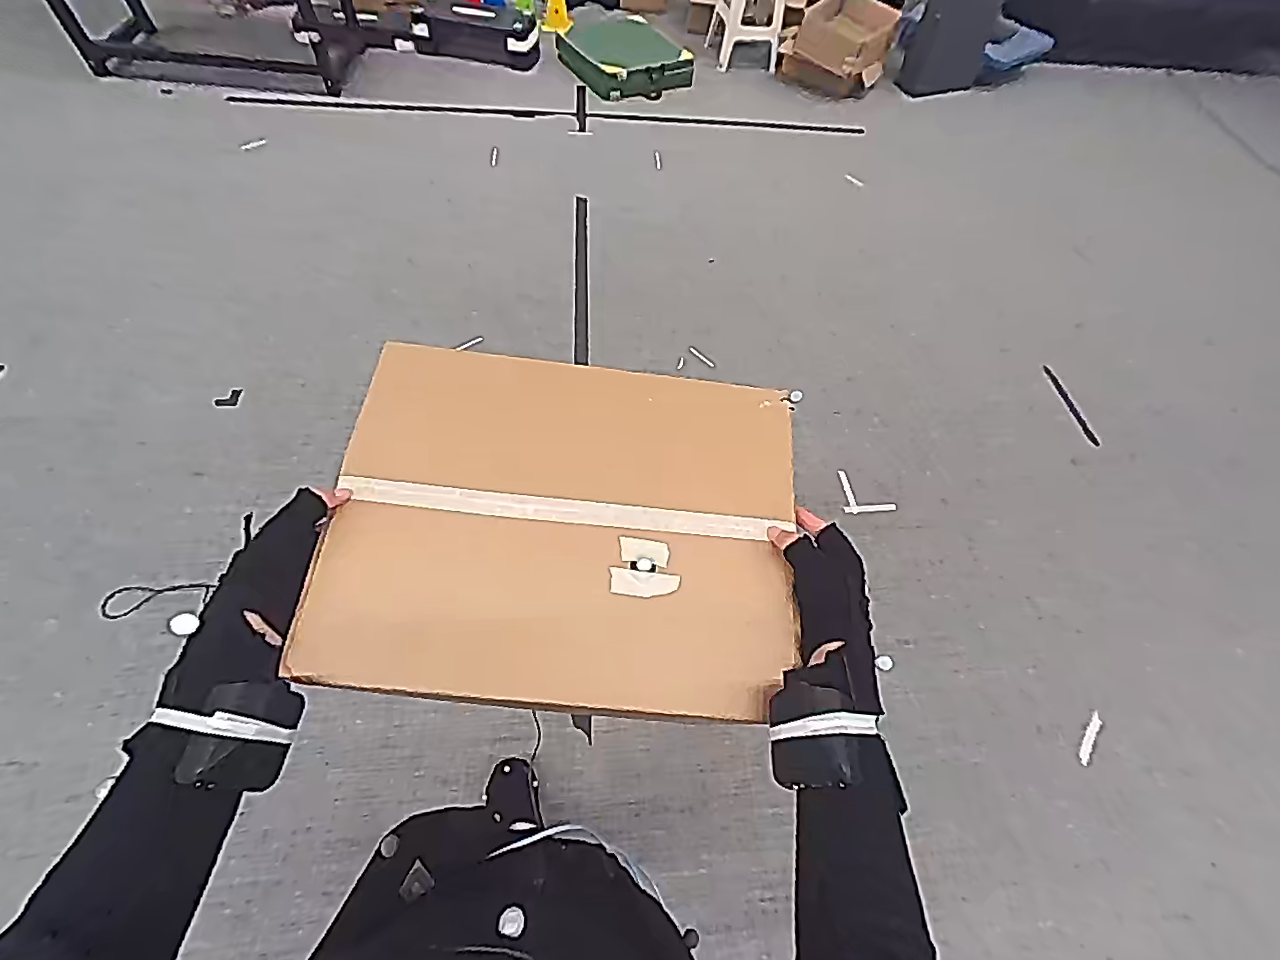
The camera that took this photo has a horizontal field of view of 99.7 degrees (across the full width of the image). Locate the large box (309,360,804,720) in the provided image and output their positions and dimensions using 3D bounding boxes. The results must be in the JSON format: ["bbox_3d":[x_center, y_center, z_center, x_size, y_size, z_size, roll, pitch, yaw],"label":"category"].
[{"bbox_3d":[-0.070,0.097,0.626,0.408,0.320,0.320,7,66,-4],"label":"large box"}]
